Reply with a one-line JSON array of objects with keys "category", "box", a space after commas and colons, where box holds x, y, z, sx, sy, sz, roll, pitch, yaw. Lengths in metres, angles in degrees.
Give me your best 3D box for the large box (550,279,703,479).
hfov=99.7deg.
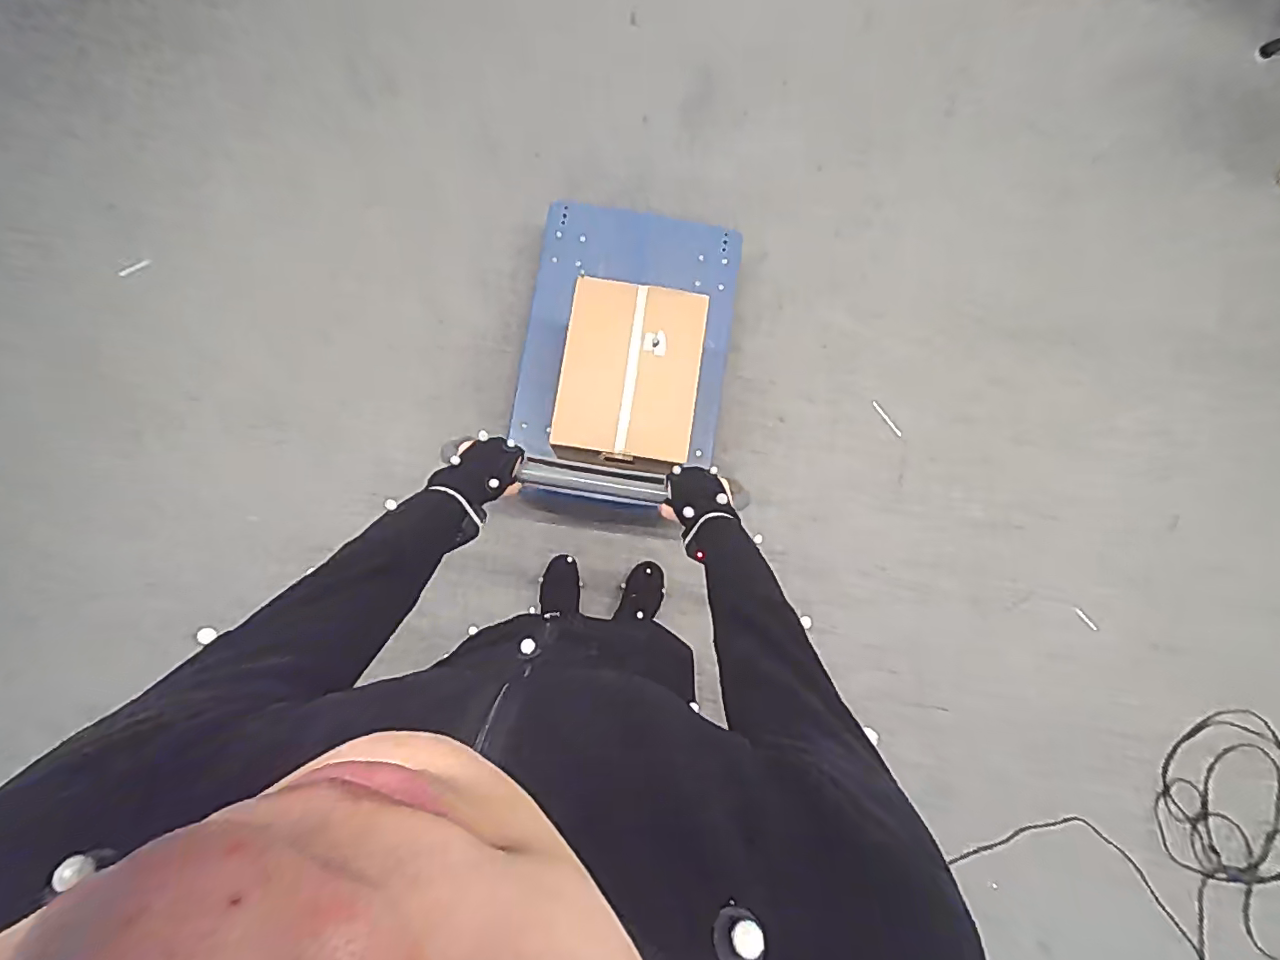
[{"category": "large box", "box": [-0.032, -0.233, 1.377, 0.320, 0.320, 0.408, 8, 81, -3]}]
